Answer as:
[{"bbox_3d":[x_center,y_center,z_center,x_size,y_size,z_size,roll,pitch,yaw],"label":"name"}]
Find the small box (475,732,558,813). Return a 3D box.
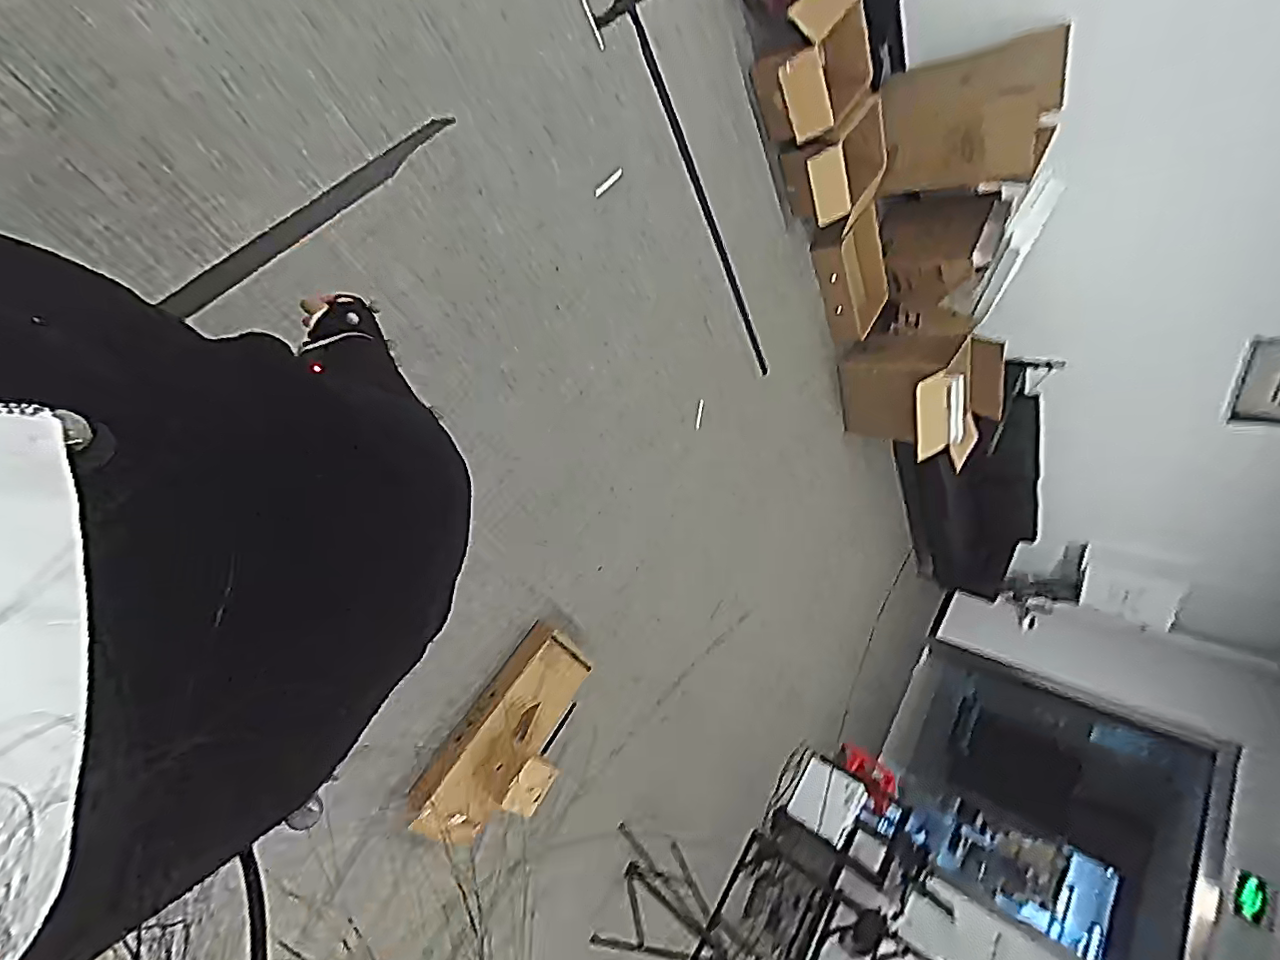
[{"bbox_3d":[-0.421,0.981,1.823,0.168,0.176,0.179,-55,134,-20],"label":"small box"}]
